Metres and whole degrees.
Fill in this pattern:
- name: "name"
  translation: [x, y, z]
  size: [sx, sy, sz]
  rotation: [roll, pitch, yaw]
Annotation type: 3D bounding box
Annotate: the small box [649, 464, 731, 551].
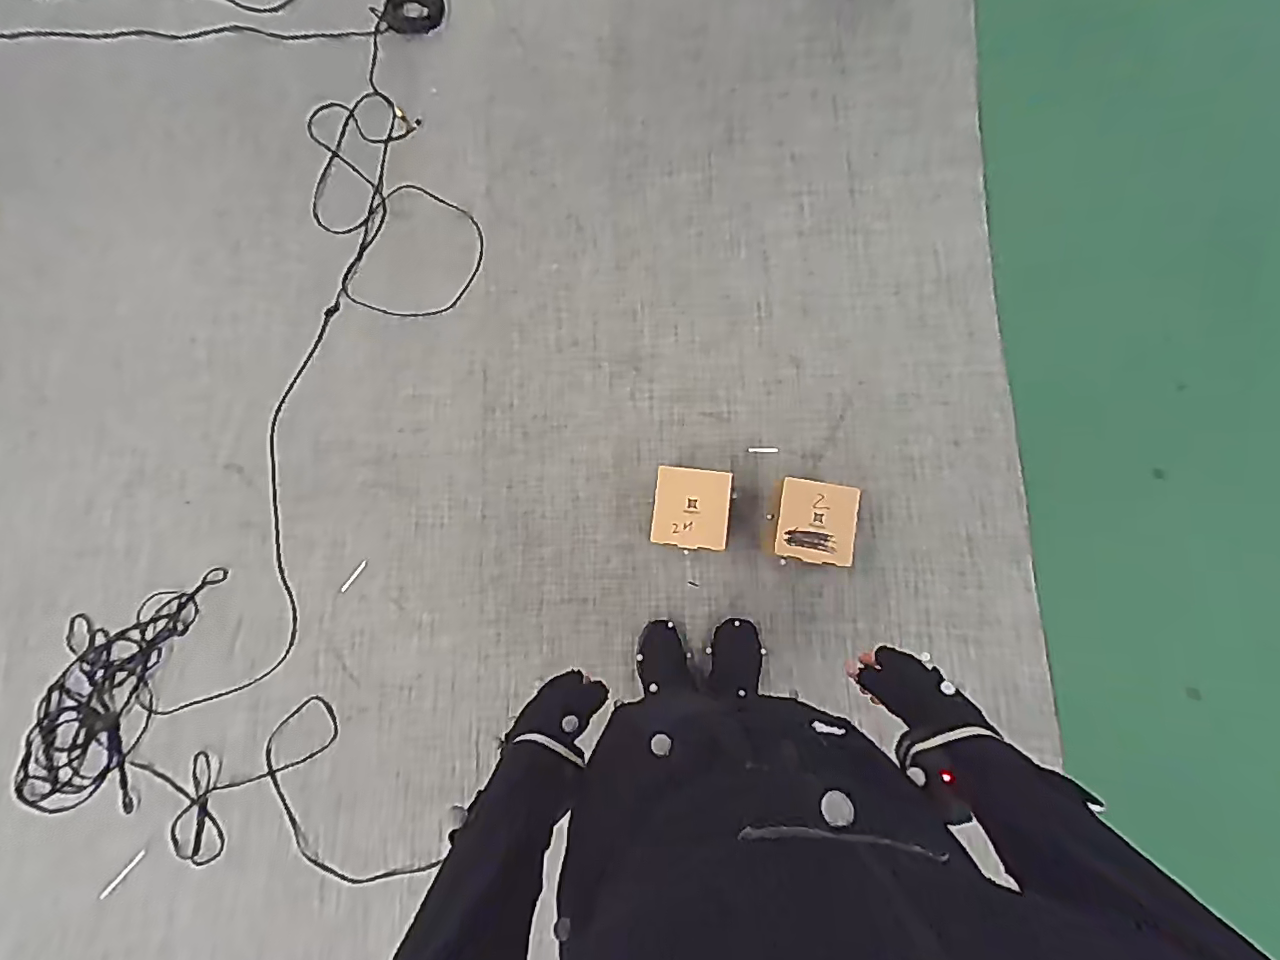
- name: "small box"
  translation: [0.117, 0.070, 1.270]
  size: [0.168, 0.176, 0.179]
  rotation: [7, 82, 6]
